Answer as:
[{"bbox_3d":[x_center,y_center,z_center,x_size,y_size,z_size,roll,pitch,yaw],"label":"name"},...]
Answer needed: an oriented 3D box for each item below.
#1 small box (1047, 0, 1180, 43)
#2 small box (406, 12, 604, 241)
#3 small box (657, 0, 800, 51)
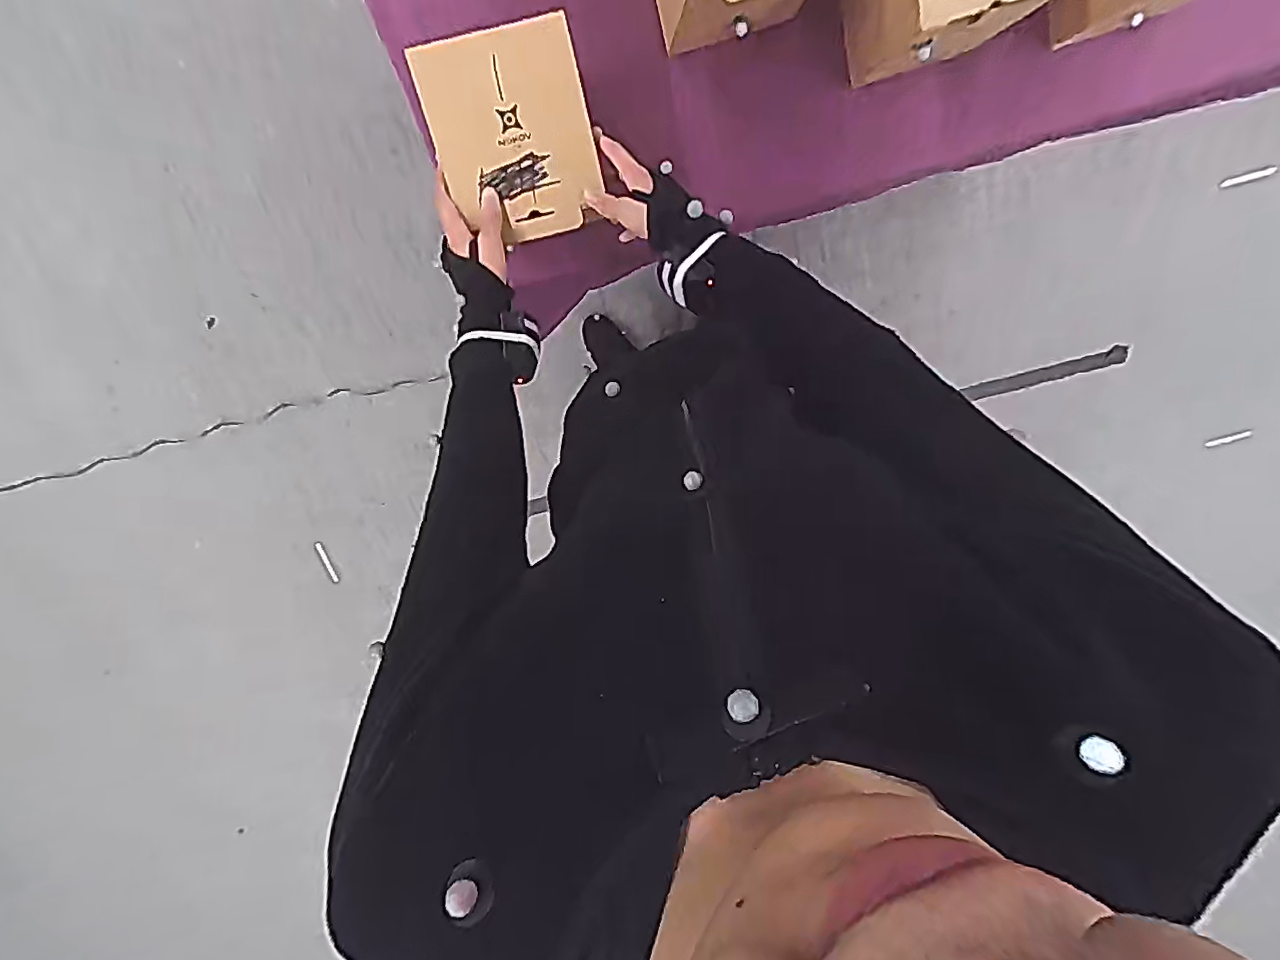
[{"bbox_3d":[0.603,-0.654,0.615,0.168,0.176,0.179,-18,110,1],"label":"small box"},{"bbox_3d":[-0.141,-0.392,0.637,0.168,0.176,0.179,-15,109,-1],"label":"small box"},{"bbox_3d":[0.097,-0.614,0.580,0.168,0.176,0.179,-16,110,1],"label":"small box"}]
